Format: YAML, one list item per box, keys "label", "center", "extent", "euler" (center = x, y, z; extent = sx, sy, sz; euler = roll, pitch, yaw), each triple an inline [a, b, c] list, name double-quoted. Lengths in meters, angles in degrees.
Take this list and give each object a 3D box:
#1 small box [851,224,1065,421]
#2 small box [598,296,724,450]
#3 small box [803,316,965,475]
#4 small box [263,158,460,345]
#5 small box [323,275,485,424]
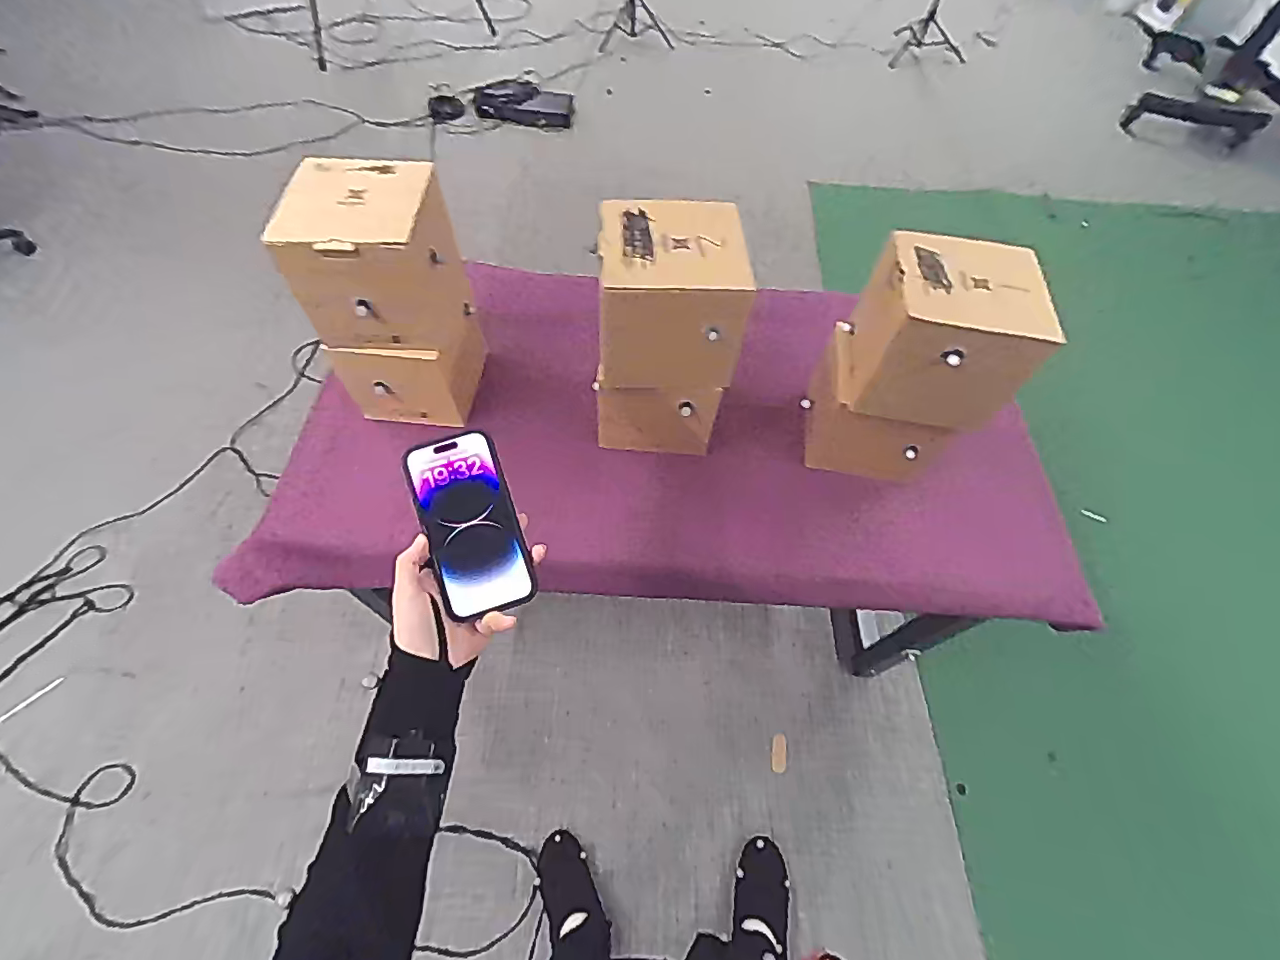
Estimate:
- label: "small box"
  center: [0.382, -0.195, 0.694]
  extent: [0.179, 0.176, 0.168]
  euler: [9, 58, 3]
- label: "small box"
  center: [0.030, -0.161, 0.849]
  extent: [0.179, 0.176, 0.168]
  euler: [4, 59, 0]
- label: "small box"
  center: [0.368, -0.124, 0.842]
  extent: [0.179, 0.176, 0.168]
  euler: [10, 58, 4]
- label: "small box"
  center: [-0.352, -0.299, 0.726]
  extent: [0.168, 0.176, 0.179]
  euler: [1, 59, -3]
- label: "small box"
  center: [-0.358, -0.207, 0.862]
  extent: [0.168, 0.176, 0.179]
  euler: [5, 59, 0]
